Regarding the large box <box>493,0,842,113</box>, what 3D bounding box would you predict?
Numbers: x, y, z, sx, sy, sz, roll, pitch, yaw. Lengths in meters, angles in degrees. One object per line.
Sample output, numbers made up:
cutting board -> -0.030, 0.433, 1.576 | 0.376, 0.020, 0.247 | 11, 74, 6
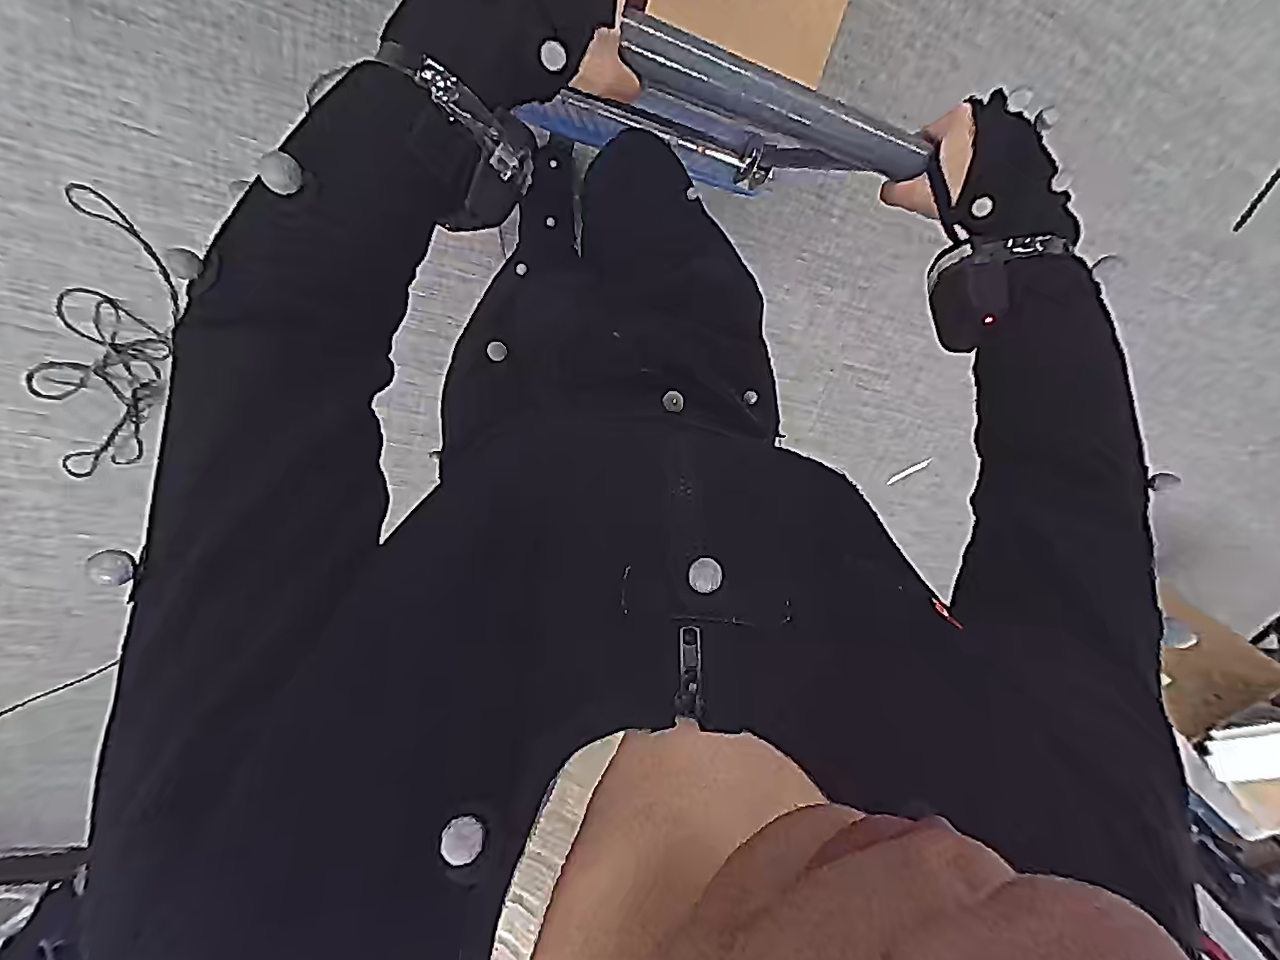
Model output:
large box -> 0.031, -0.708, 0.693 | 0.408, 0.320, 0.320 | 6, 122, -19
